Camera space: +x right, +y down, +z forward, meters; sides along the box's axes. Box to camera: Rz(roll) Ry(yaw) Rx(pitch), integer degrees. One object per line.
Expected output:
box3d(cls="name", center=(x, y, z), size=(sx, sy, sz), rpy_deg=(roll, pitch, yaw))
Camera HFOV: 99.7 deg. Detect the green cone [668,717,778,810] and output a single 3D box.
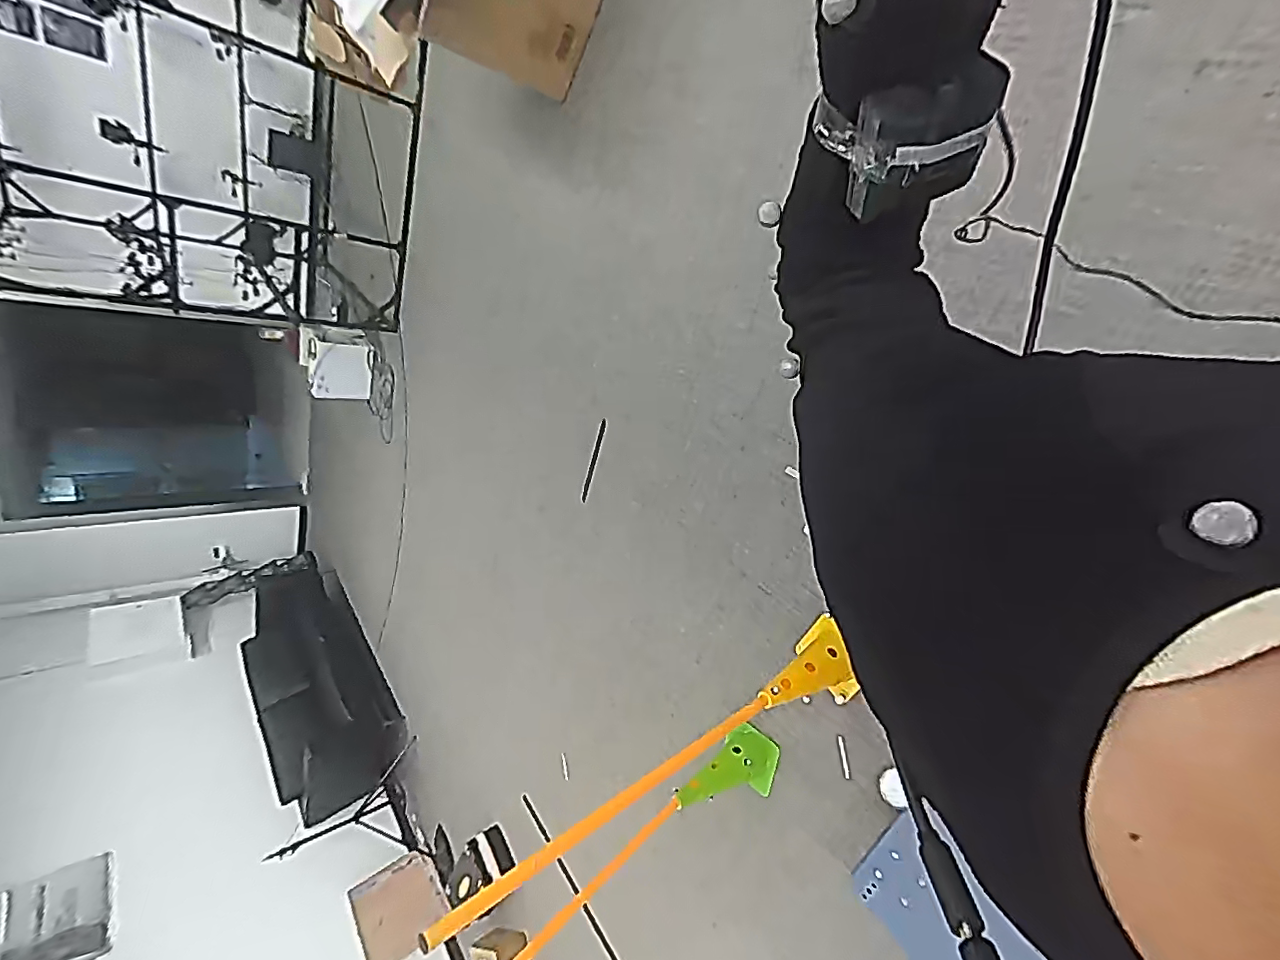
box3d(cls="green cone", center=(0.229, 0.921, 1.663), size=(0.200, 0.368, 0.202), rpy_deg=(23, 109, 44))
